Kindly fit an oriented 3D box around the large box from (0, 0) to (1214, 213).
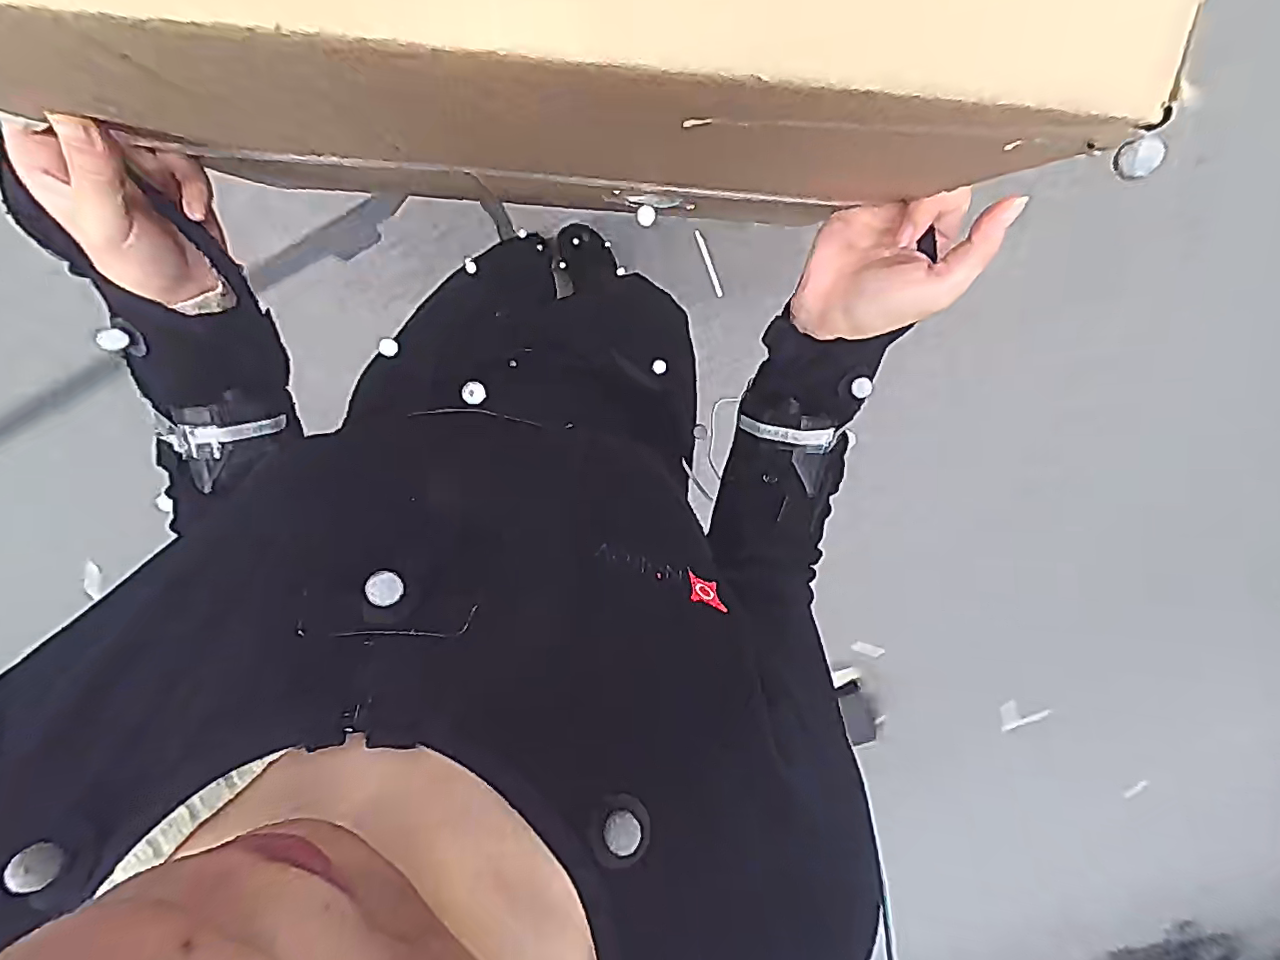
[{"bbox_3d":[-0.043,-0.311,0.221,0.408,0.320,0.320,2,112,-6],"label":"large box"}]
